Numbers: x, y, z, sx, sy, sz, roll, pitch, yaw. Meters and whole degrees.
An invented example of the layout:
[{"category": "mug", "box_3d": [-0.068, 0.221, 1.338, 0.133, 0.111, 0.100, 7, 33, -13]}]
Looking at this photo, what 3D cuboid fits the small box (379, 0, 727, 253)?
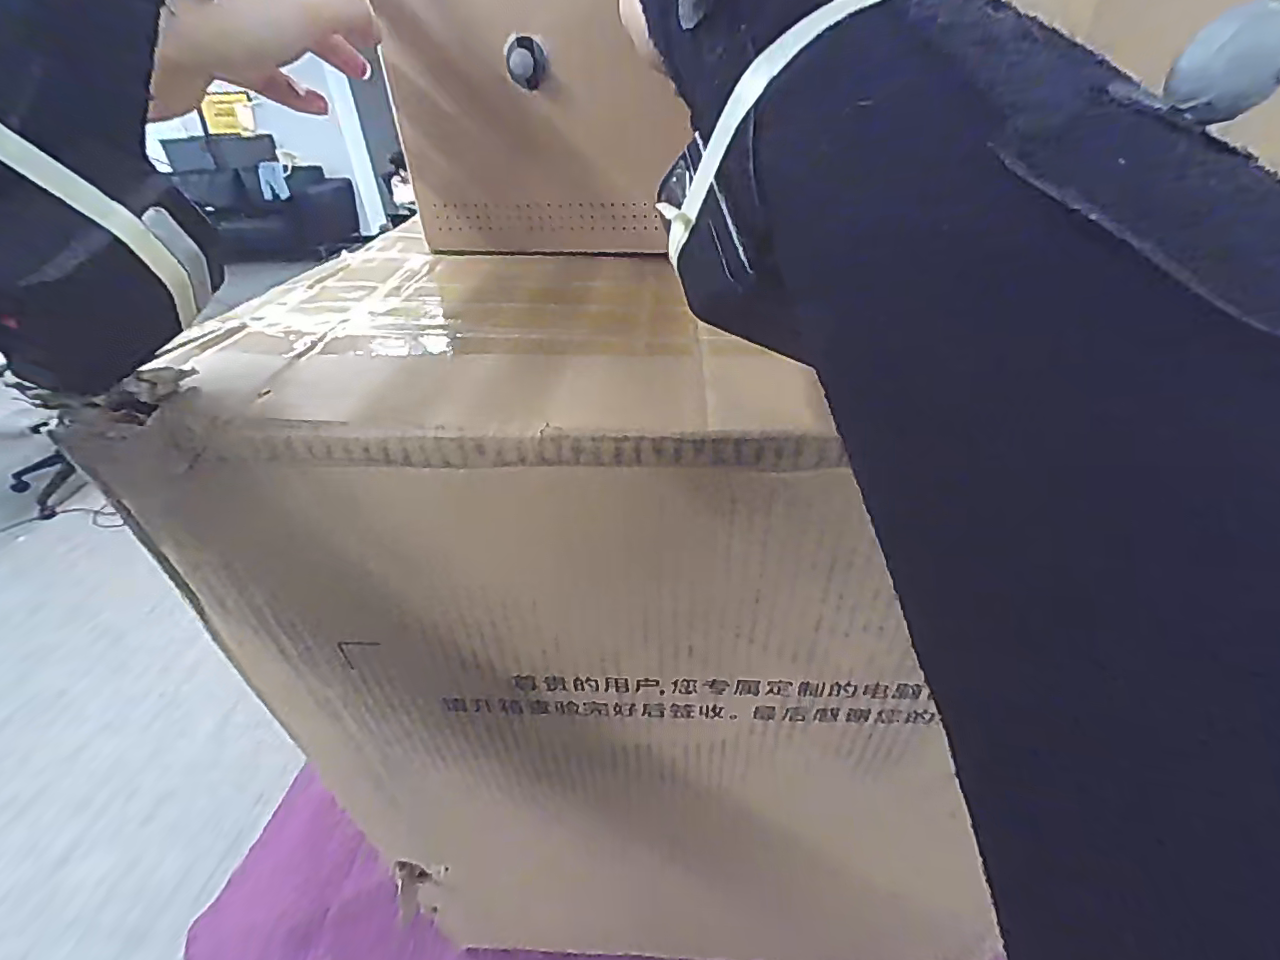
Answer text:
[{"category": "small box", "box_3d": [-0.036, -0.252, 0.348, 0.179, 0.176, 0.168, 2, 36, 6]}]
